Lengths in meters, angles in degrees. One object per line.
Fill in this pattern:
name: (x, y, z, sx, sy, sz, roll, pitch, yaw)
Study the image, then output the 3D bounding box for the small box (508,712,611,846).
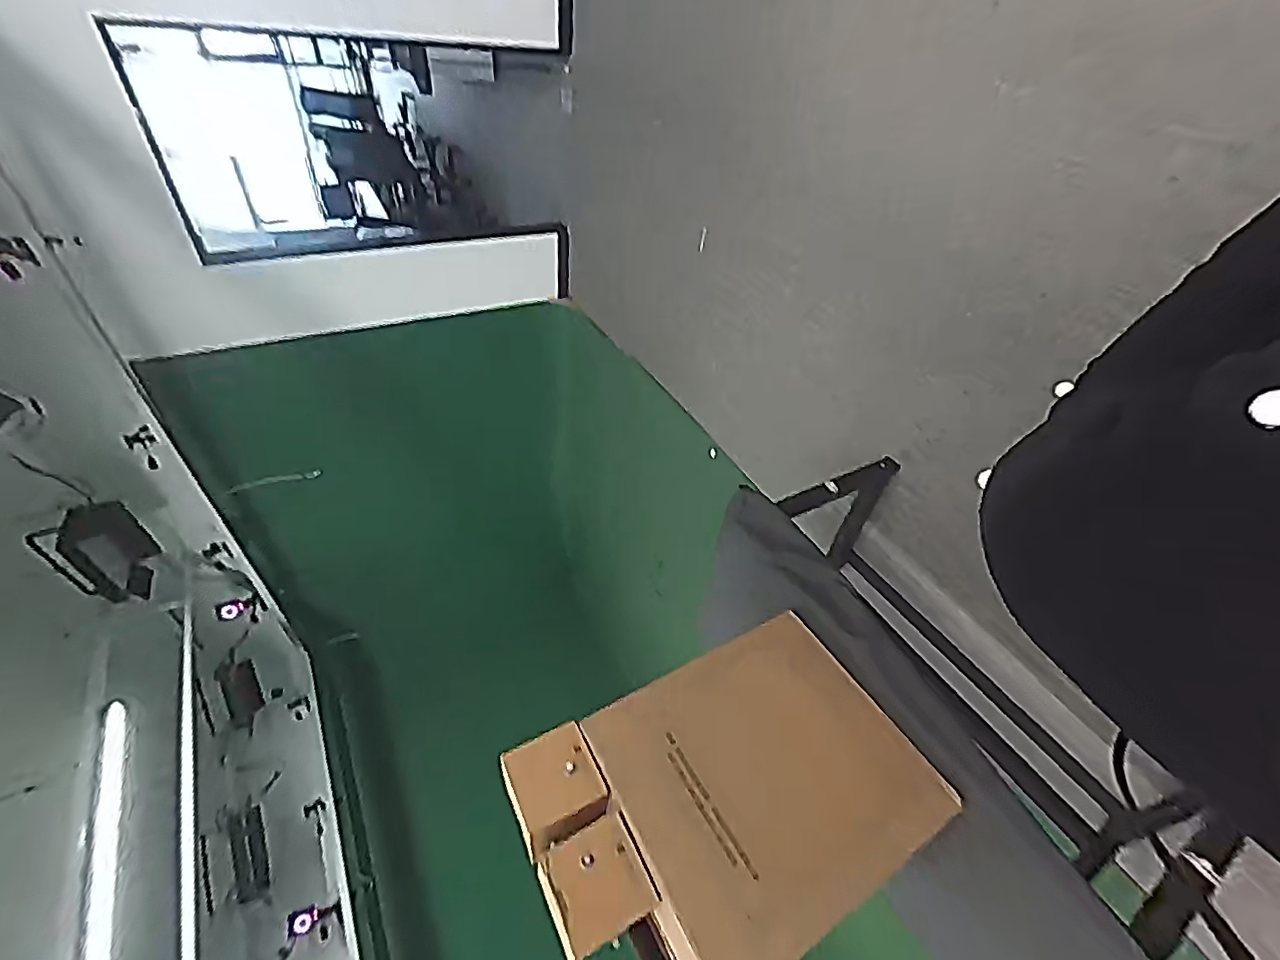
small box: (-0.173, 0.641, 1.168, 0.168, 0.176, 0.179, 52, 148, 39)
